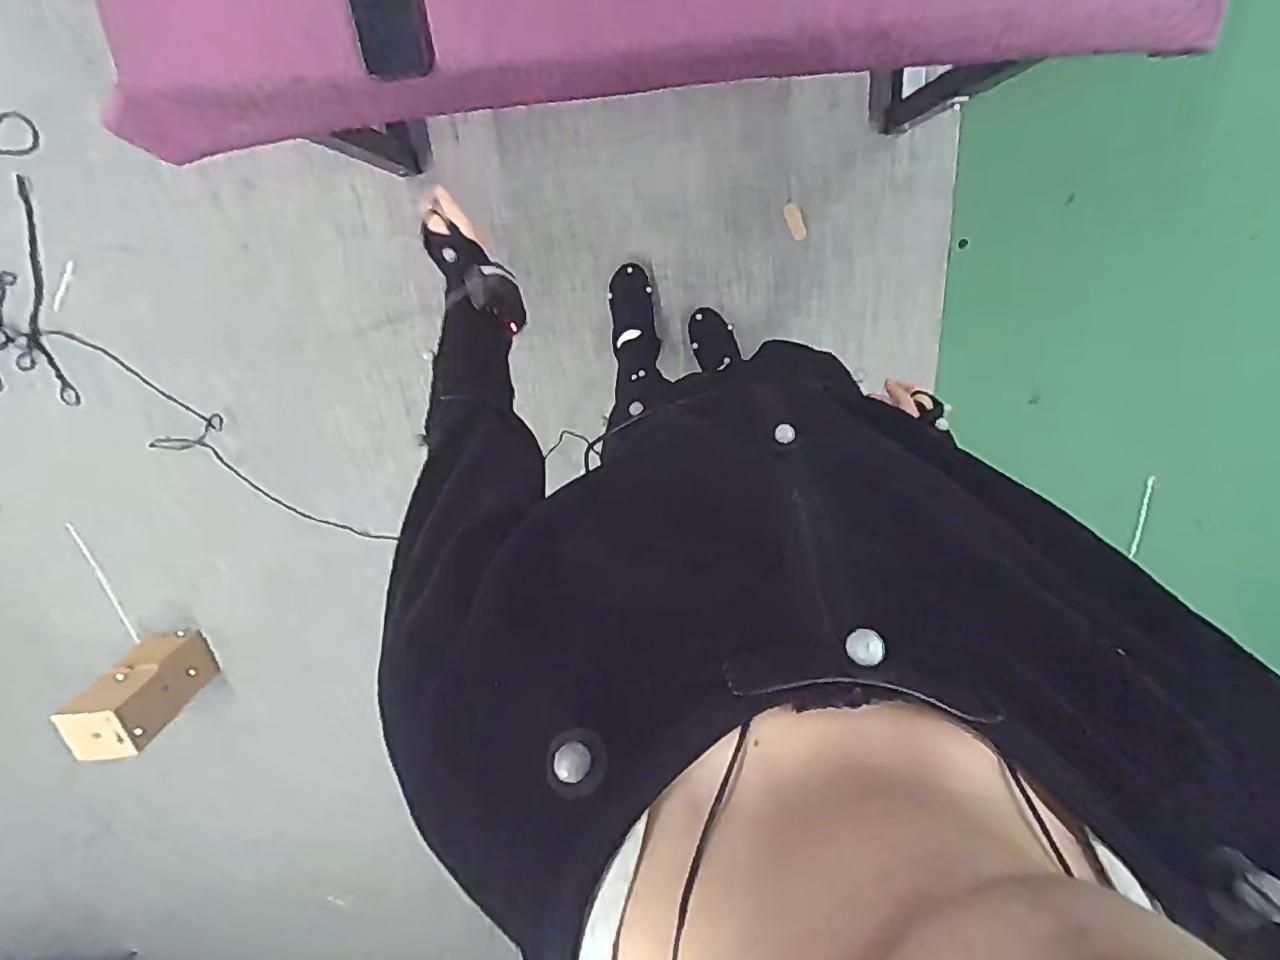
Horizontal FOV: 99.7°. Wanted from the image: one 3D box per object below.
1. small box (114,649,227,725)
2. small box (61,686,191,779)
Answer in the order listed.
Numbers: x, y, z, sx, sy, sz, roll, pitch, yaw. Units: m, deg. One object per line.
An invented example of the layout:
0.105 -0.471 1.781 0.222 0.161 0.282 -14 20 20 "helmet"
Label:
-1.450 0.646 1.684 0.168 0.176 0.179 -8 112 2 "small box"
-1.444 0.712 1.534 0.179 0.176 0.168 -7 112 2 "small box"
